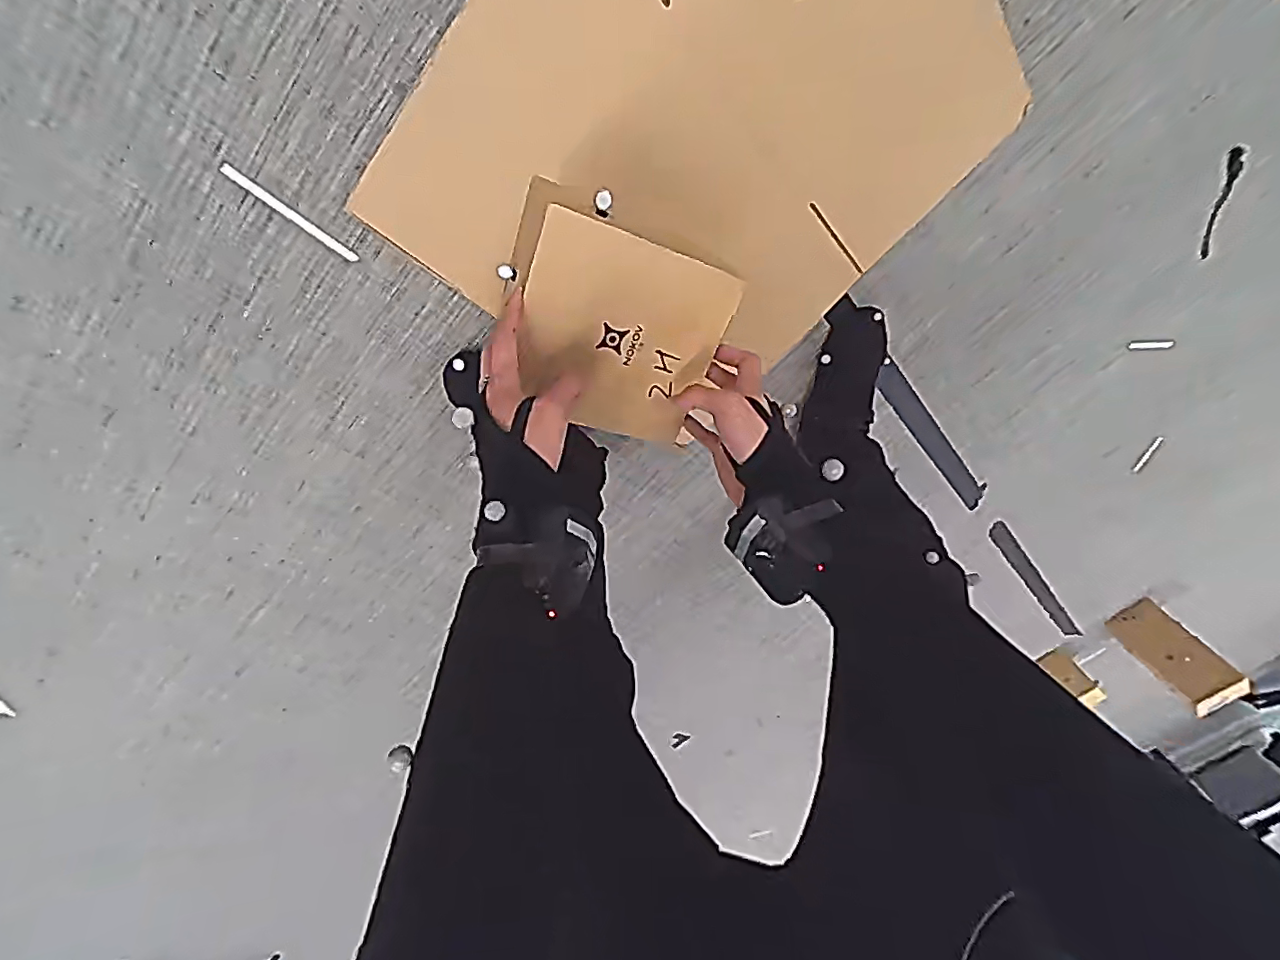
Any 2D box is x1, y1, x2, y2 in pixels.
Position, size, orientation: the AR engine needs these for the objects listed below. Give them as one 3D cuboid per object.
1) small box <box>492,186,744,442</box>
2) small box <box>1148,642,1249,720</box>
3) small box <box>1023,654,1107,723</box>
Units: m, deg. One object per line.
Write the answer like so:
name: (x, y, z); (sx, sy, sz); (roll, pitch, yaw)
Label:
small box: (-0.037, -0.163, 0.521); (0.179, 0.176, 0.168); (12, 120, -24)
small box: (1.869, 0.672, 1.814); (0.168, 0.176, 0.179); (-42, 127, 17)
small box: (1.597, 0.784, 2.039); (0.179, 0.176, 0.168); (31, 114, -35)
